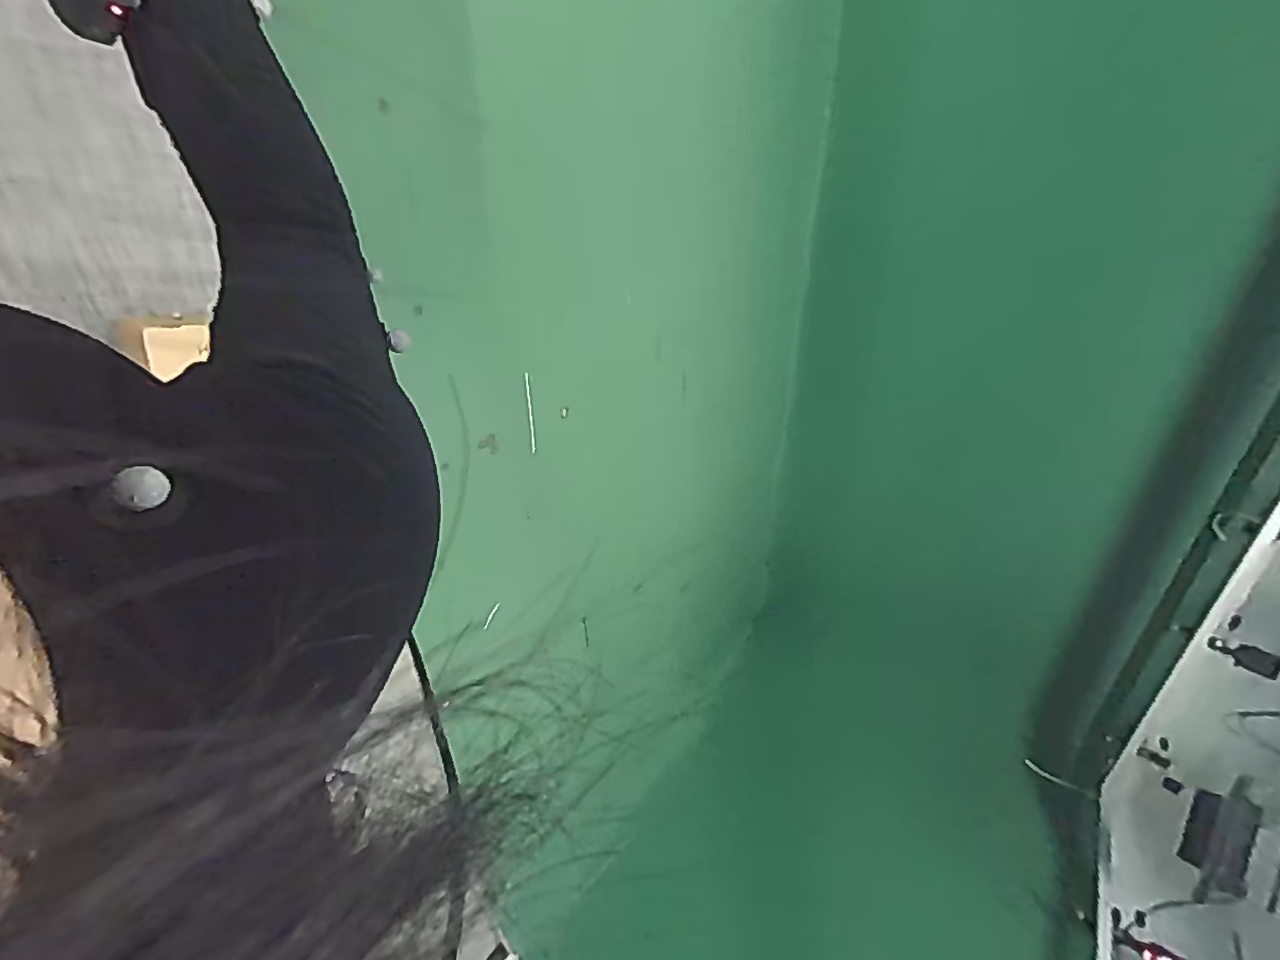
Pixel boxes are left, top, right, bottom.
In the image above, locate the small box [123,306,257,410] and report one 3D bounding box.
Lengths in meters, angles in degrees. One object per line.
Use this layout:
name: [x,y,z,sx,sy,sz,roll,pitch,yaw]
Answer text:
small box: [-0.927,-0.256,1.119,0.168,0.176,0.179,-20,123,-50]
